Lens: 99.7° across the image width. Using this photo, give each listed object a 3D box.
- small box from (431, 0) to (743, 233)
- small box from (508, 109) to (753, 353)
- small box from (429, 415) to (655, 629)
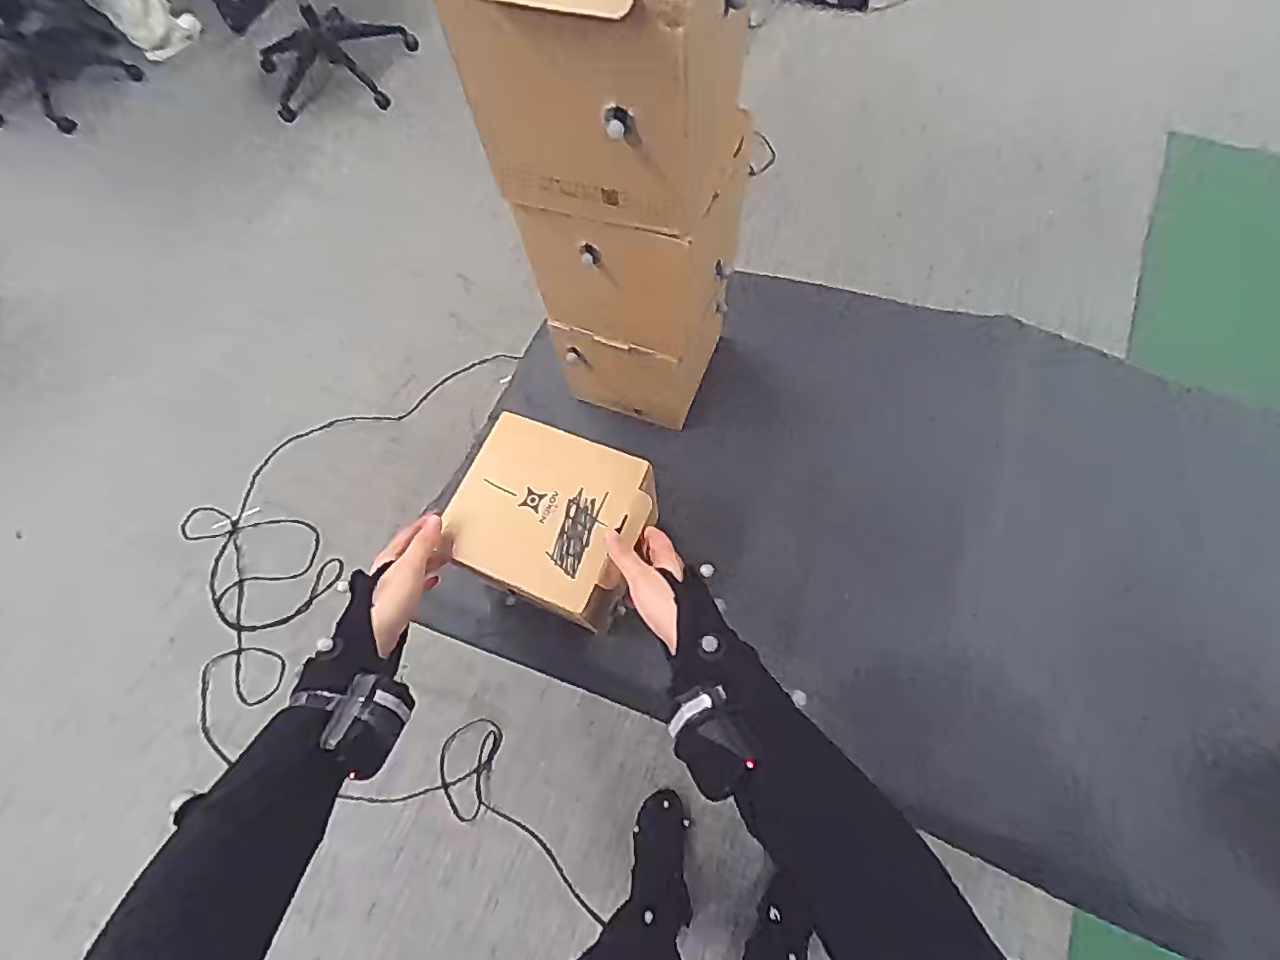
[{"bbox_3d":[-0.020,-0.320,0.405,0.168,0.176,0.179,16,69,9],"label":"small box"},{"bbox_3d":[-0.001,-0.256,0.553,0.179,0.176,0.168,20,72,12],"label":"small box"},{"bbox_3d":[-0.091,0.057,0.610,0.179,0.176,0.168,20,71,13],"label":"small box"}]
